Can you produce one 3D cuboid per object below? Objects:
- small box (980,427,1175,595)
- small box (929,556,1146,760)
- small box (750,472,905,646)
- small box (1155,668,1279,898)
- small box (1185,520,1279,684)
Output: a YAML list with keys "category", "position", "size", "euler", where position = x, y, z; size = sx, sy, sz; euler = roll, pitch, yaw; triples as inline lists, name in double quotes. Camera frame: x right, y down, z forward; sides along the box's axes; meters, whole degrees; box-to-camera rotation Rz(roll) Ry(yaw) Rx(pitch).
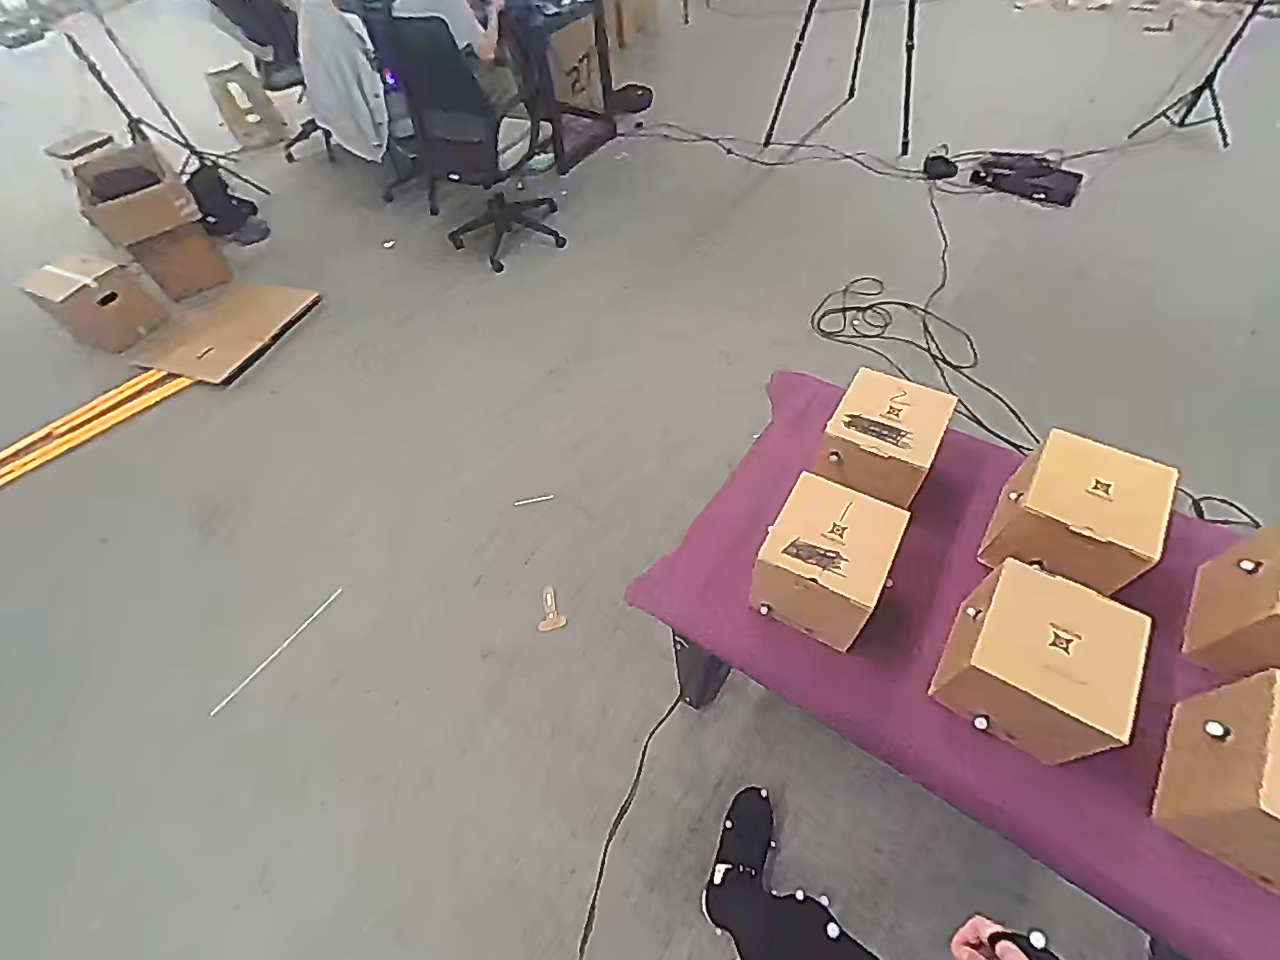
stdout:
- category: "small box"
  position: [0.663, 0.056, 0.837]
  size: [0.168, 0.176, 0.179]
  euler: [27, 64, 24]
- category: "small box"
  position: [0.518, 0.241, 0.726]
  size: [0.168, 0.176, 0.179]
  euler: [27, 63, 25]
- category: "small box"
  position: [0.279, 0.126, 0.835]
  size: [0.168, 0.176, 0.179]
  euler: [24, 59, 22]
- category: "small box"
  position: [0.744, 0.354, 0.614]
  size: [0.168, 0.176, 0.179]
  euler: [28, 62, 25]
- category: "small box"
  position: [0.886, 0.179, 0.717]
  size: [0.168, 0.176, 0.179]
  euler: [28, 64, 25]
